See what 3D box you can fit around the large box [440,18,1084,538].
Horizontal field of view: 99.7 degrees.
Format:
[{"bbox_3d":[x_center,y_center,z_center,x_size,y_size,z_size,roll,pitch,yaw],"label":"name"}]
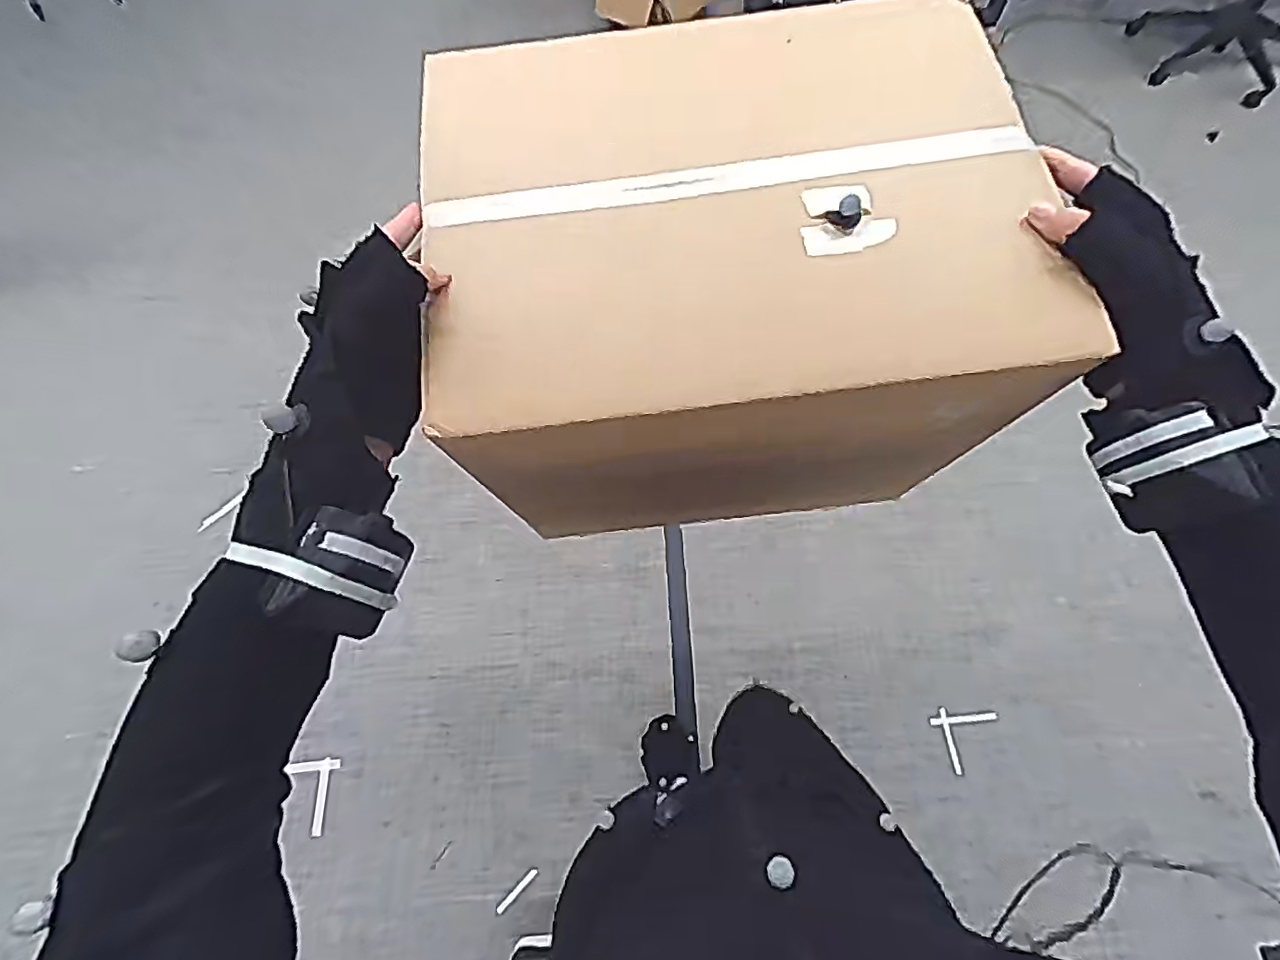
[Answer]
[{"bbox_3d":[0.063,-0.147,0.516,0.408,0.320,0.320,-7,73,0],"label":"large box"}]
